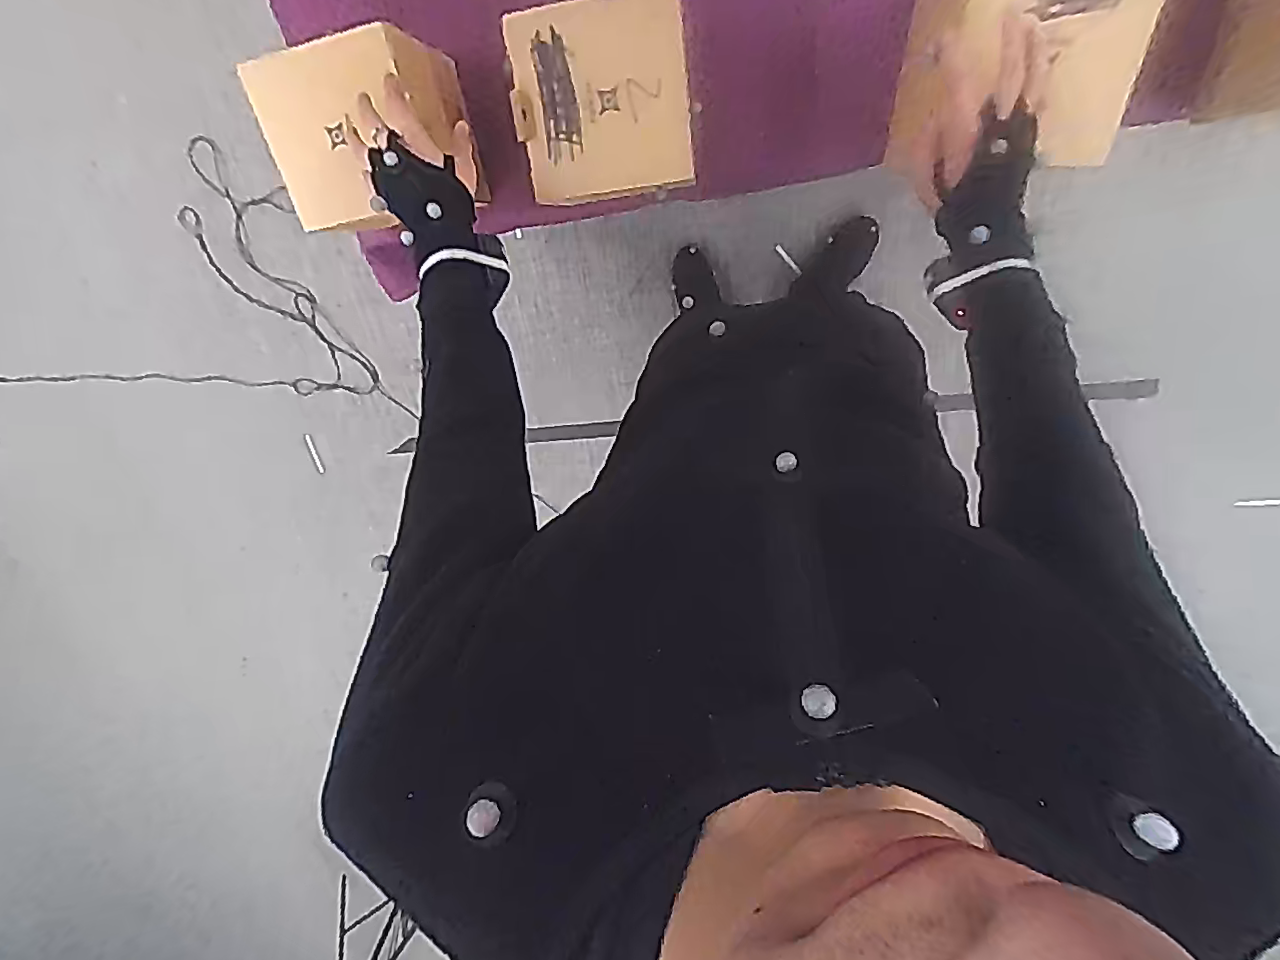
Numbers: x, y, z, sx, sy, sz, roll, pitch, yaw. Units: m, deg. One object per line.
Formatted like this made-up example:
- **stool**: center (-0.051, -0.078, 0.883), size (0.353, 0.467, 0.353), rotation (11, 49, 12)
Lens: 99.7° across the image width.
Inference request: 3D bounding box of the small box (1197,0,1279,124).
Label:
- **small box**: center (0.701, -0.454, 0.508), size (0.168, 0.176, 0.179), rotation (1, 117, 8)

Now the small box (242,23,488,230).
- **small box**: center (-0.313, -0.408, 0.657), size (0.179, 0.176, 0.168), rotation (-8, 116, 9)
